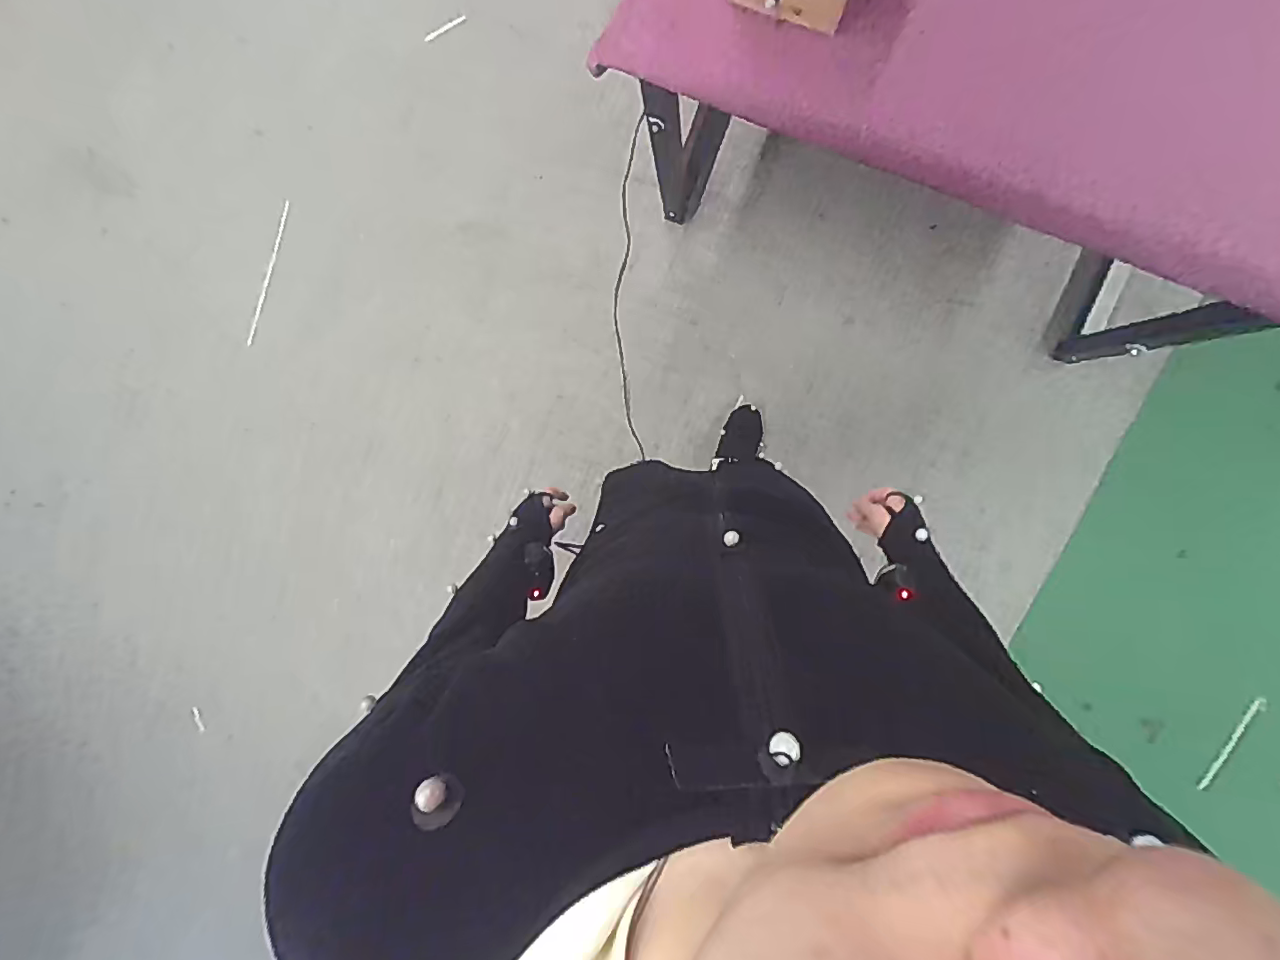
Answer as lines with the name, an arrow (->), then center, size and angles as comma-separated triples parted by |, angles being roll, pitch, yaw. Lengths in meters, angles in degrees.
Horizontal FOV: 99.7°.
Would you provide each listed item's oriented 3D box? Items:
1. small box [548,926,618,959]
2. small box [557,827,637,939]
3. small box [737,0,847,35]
small box -> -0.158, 1.250, 1.310 | 0.168, 0.176, 0.179 | 28, 101, 5
small box -> -0.122, 1.209, 1.633 | 0.168, 0.176, 0.179 | 28, 100, 4
small box -> 0.229, -0.754, 0.713 | 0.168, 0.176, 0.179 | 21, 98, 5
